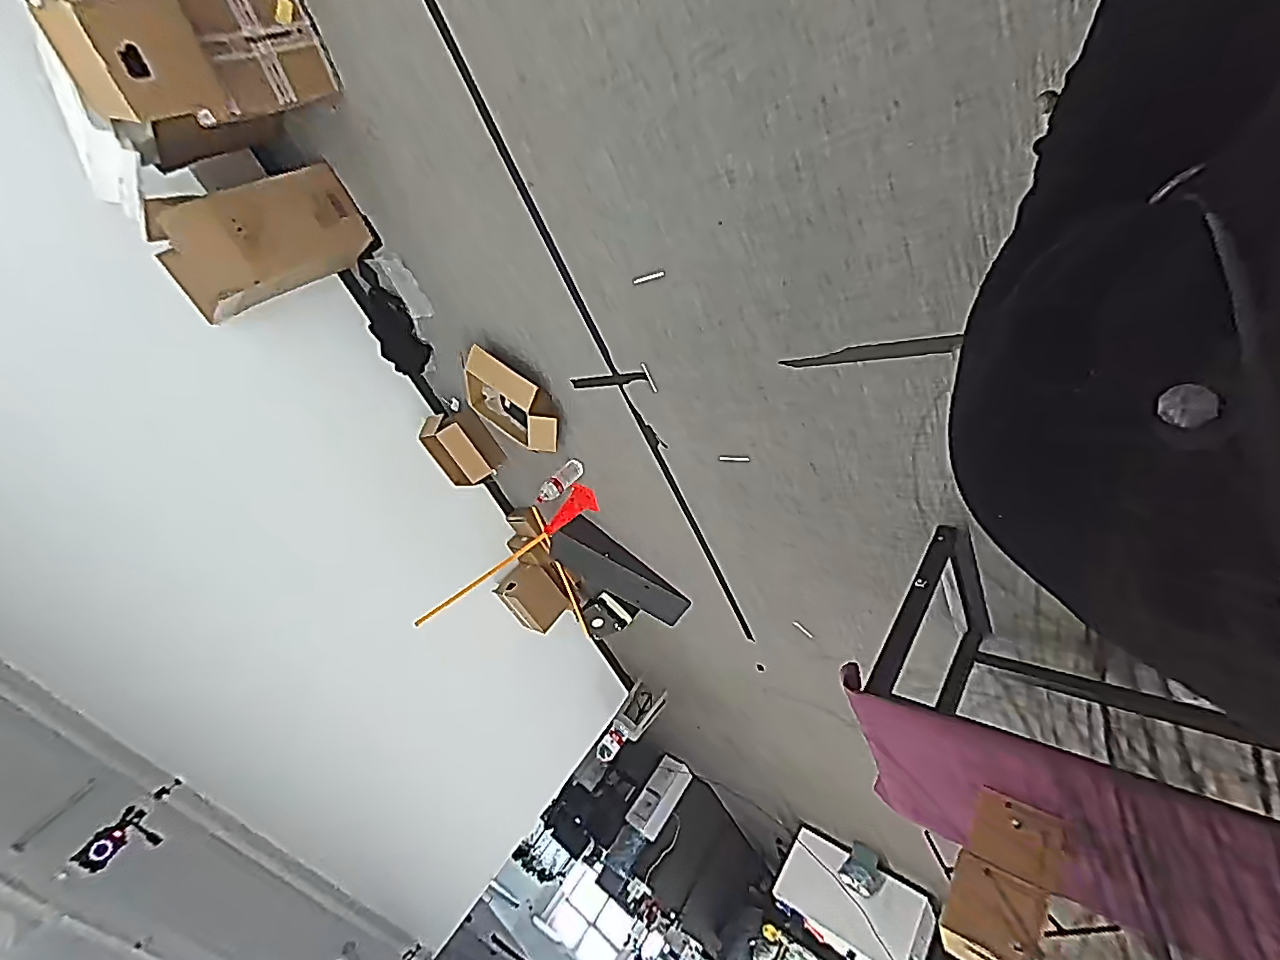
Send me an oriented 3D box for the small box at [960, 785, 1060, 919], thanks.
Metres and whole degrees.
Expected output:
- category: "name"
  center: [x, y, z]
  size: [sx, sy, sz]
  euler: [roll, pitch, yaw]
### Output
- category: "small box"
  center: [0.872, 0.868, 1.274]
  size: [0.168, 0.176, 0.179]
  euler: [10, 135, 42]
